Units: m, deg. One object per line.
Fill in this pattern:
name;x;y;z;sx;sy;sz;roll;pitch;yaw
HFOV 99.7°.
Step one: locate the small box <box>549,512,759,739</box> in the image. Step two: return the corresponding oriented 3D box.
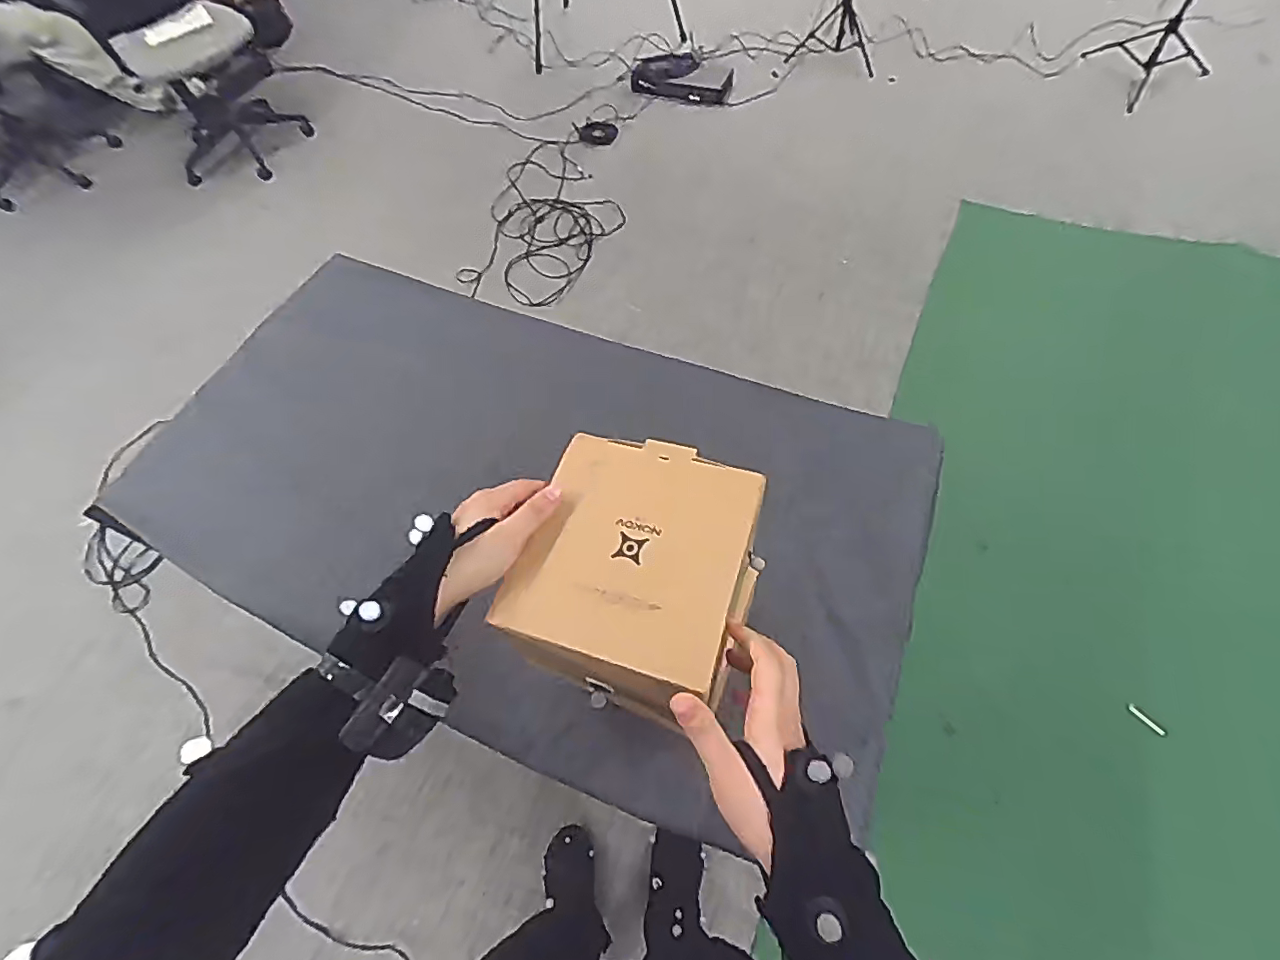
small box;0.025;0.170;0.613;0.168;0.176;0.179;18;61;16
